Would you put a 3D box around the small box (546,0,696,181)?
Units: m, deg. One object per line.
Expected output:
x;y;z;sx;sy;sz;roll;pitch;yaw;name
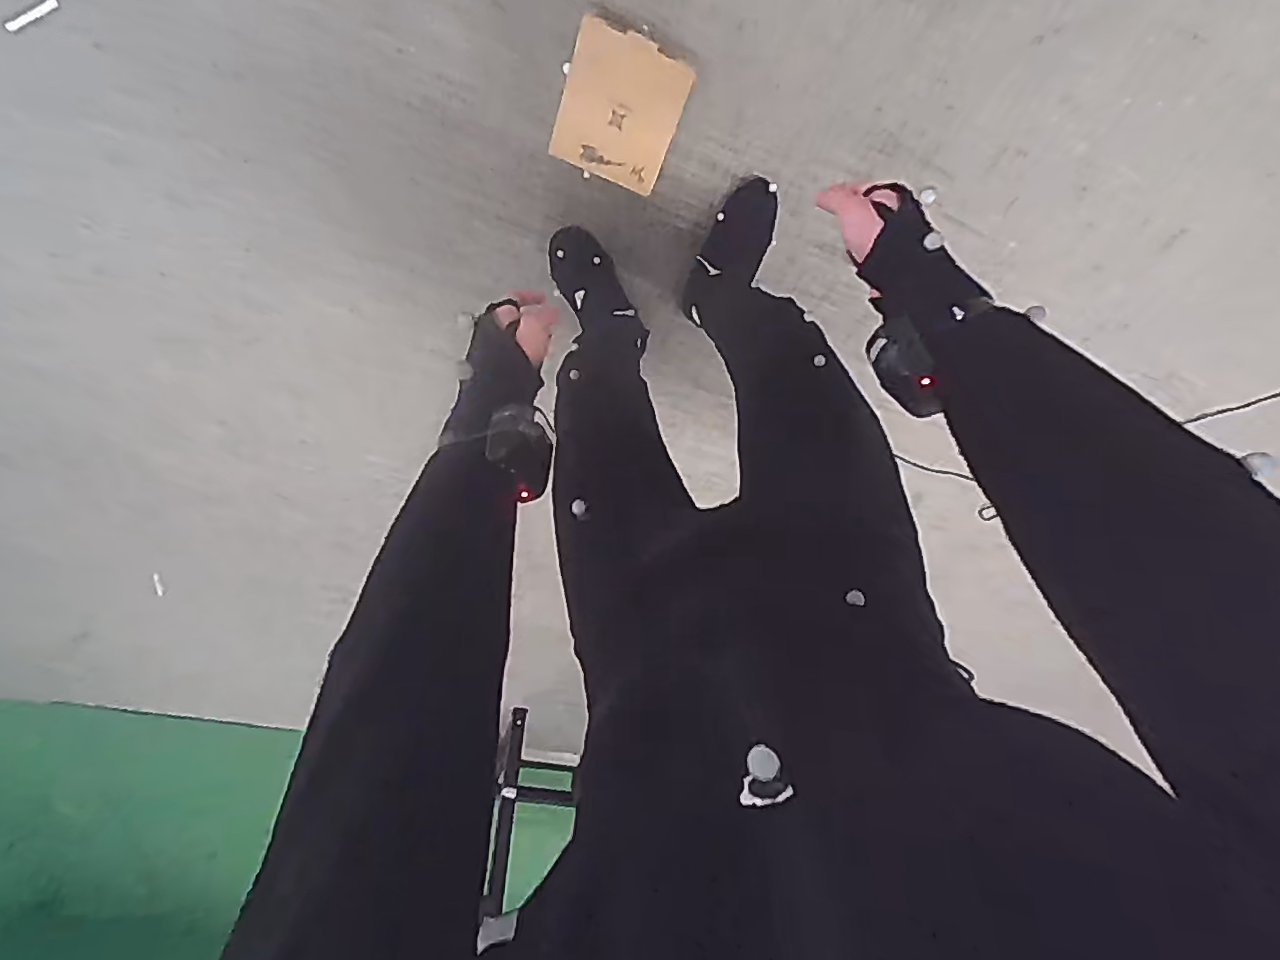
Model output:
-0.033;-0.595;0.822;0.168;0.176;0.179;18;128;-15;small box
